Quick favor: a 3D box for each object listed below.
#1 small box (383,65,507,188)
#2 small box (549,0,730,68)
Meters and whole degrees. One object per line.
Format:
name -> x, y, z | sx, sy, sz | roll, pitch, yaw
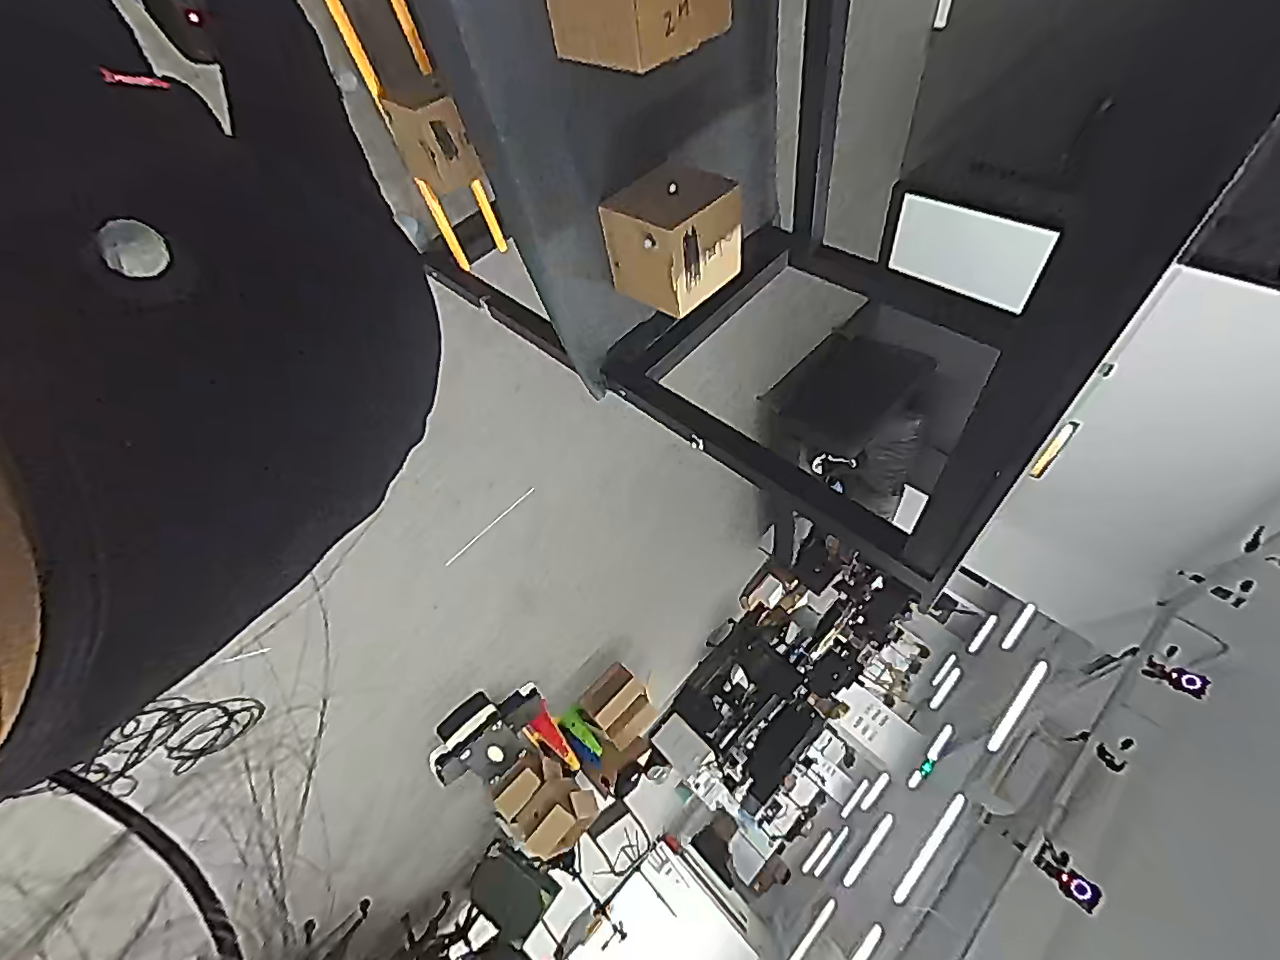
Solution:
small box -> -0.428, -0.772, 1.176 | 0.179, 0.176, 0.168 | -41, 148, -20
small box -> -0.008, -0.635, 0.650 | 0.168, 0.176, 0.179 | -41, 148, -20
